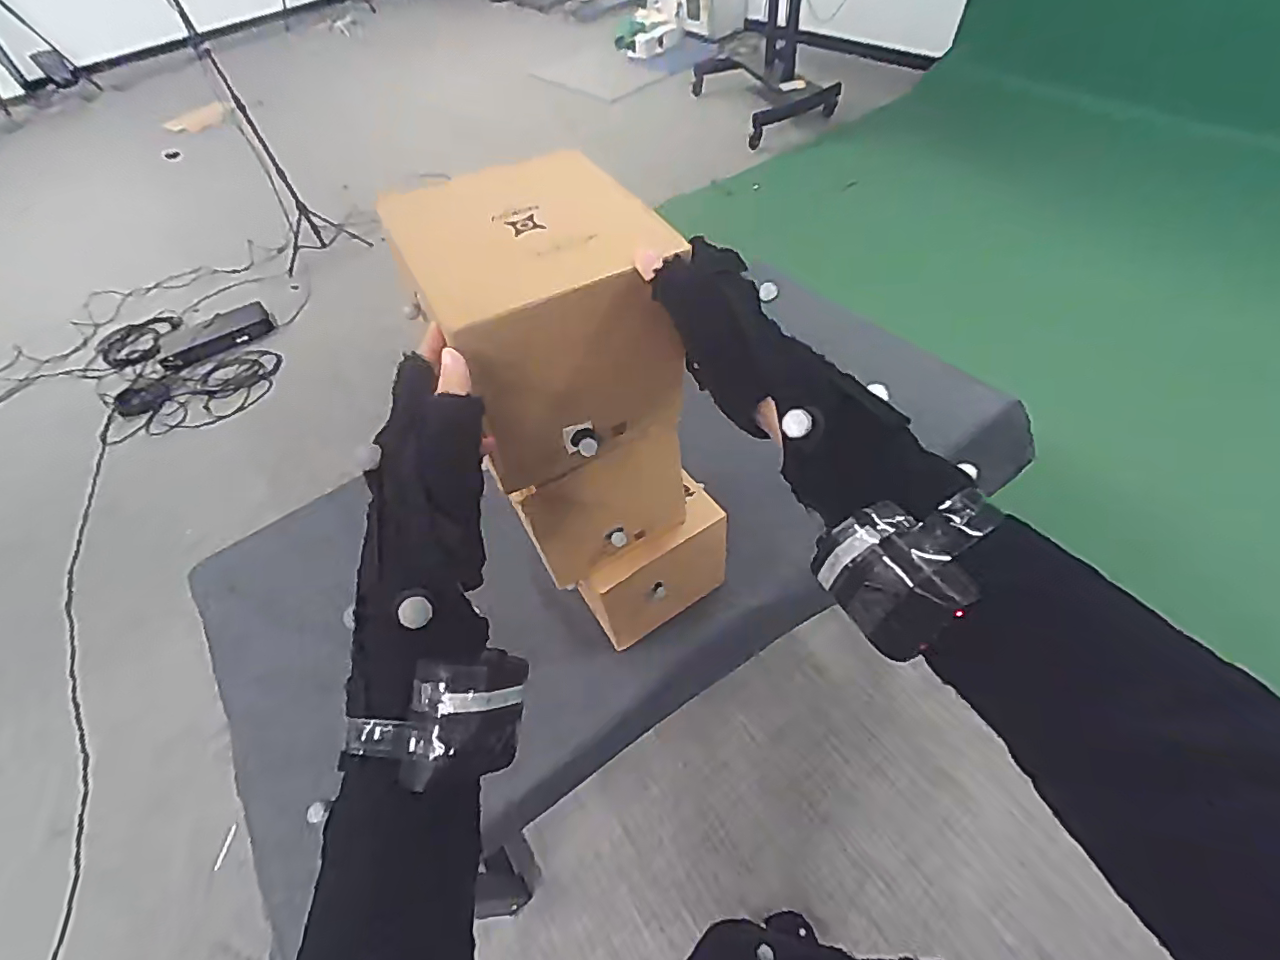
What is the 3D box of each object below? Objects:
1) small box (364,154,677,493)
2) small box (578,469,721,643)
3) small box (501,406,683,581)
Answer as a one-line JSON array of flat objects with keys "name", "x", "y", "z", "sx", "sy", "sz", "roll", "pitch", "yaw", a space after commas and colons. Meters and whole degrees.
[{"name": "small box", "x": -0.086, "y": -0.122, "z": 0.430, "sx": 0.168, "sy": 0.176, "sz": 0.179, "roll": -26, "pitch": 57, "yaw": -16}, {"name": "small box", "x": -0.007, "y": 0.081, "z": 0.707, "sx": 0.179, "sy": 0.176, "sz": 0.168, "roll": -31, "pitch": 54, "yaw": -14}, {"name": "small box", "x": -0.070, "y": -0.025, "z": 0.590, "sx": 0.168, "sy": 0.176, "sz": 0.179, "roll": -31, "pitch": 52, "yaw": -14}]
